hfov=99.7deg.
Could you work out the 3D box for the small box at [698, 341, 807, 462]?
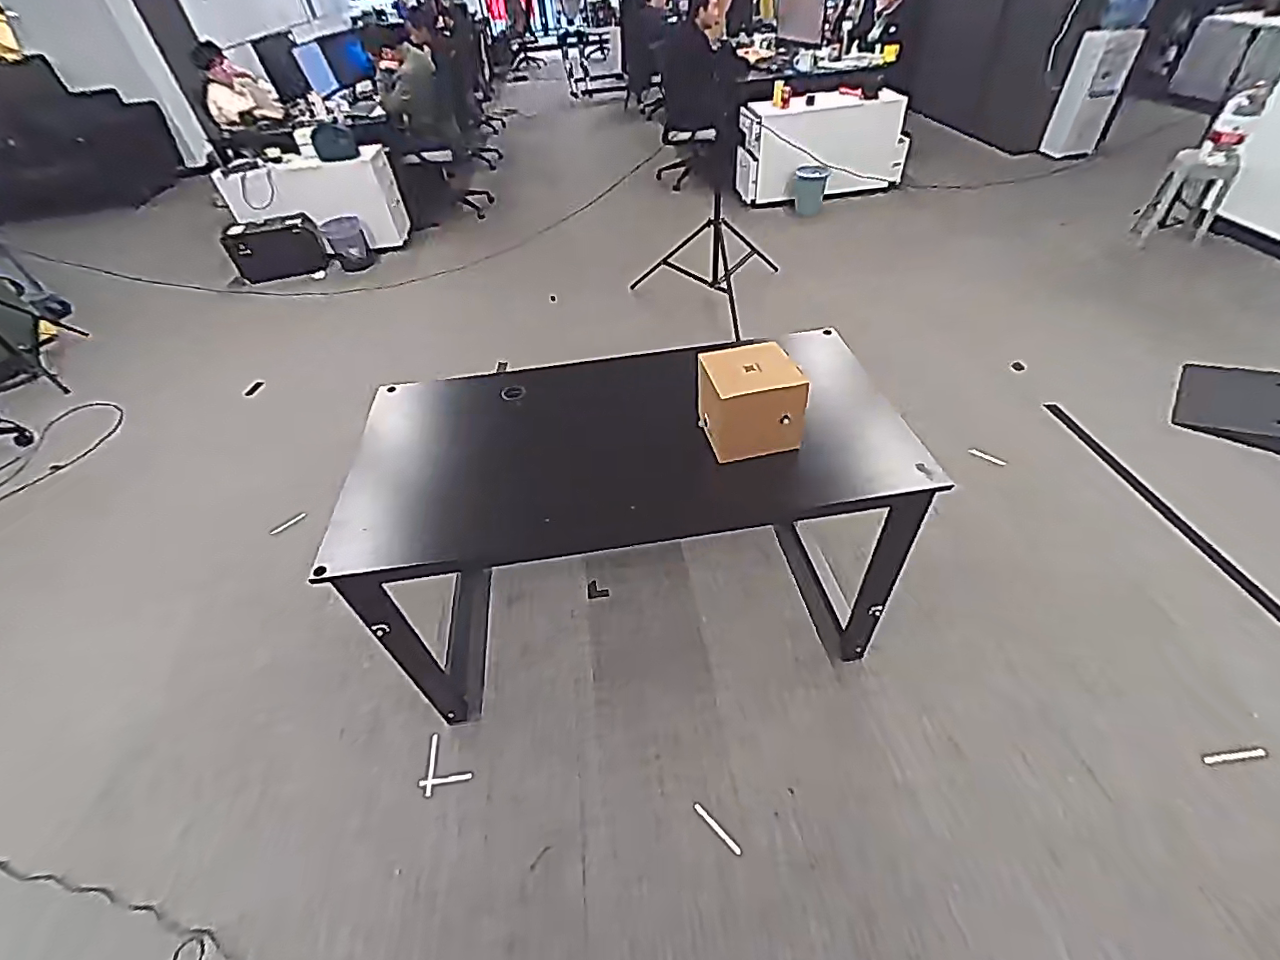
[{"bbox_3d":[0.224,-0.160,1.122,0.179,0.176,0.168,-12,44,-4],"label":"small box"}]
